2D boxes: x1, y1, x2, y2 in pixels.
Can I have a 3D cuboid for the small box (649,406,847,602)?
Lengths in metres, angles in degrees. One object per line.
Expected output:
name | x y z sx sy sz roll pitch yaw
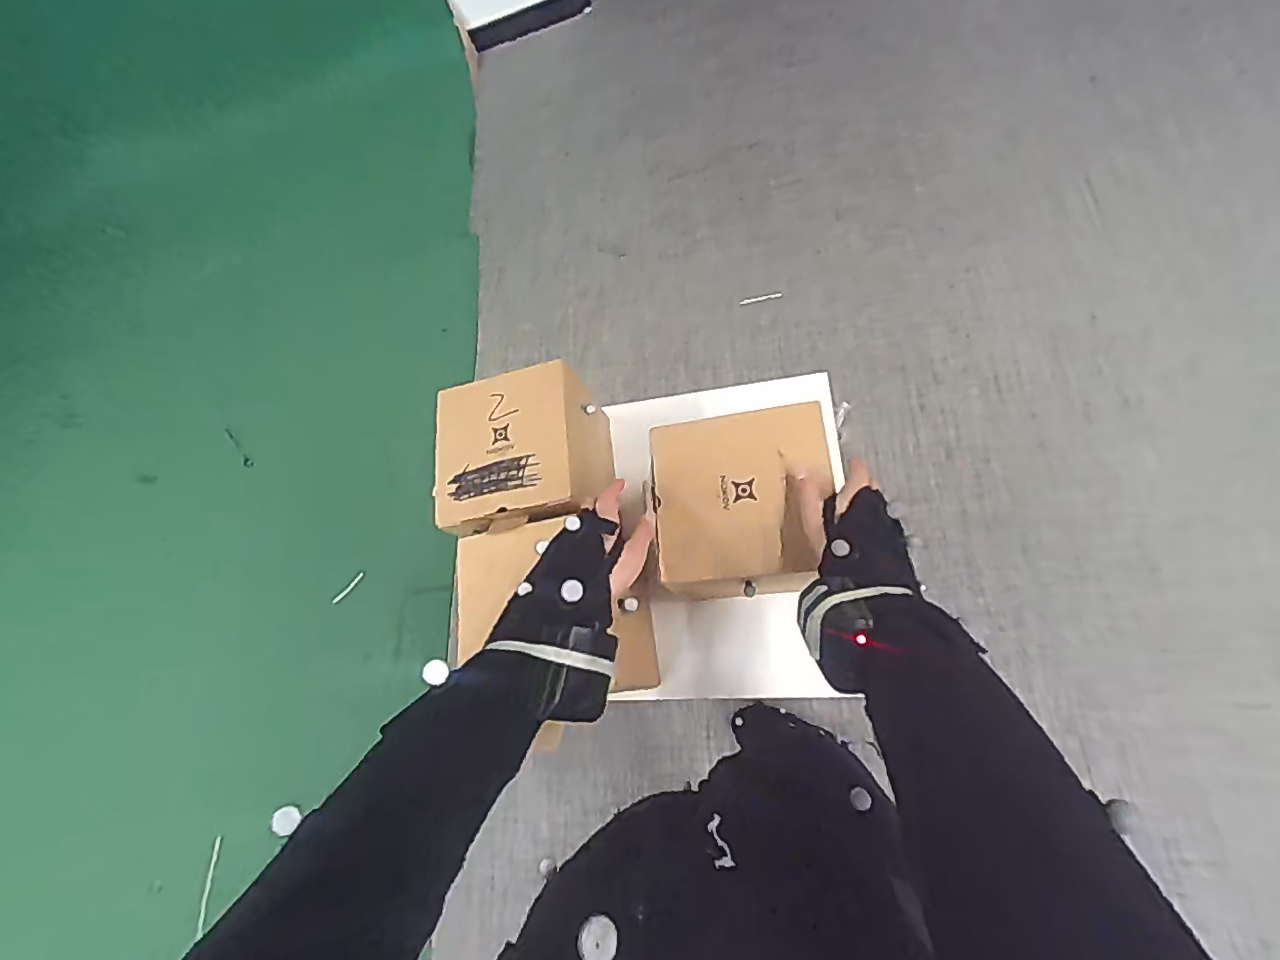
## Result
small box | 0.119 0.039 0.593 0.179 0.176 0.168 -8 71 14
